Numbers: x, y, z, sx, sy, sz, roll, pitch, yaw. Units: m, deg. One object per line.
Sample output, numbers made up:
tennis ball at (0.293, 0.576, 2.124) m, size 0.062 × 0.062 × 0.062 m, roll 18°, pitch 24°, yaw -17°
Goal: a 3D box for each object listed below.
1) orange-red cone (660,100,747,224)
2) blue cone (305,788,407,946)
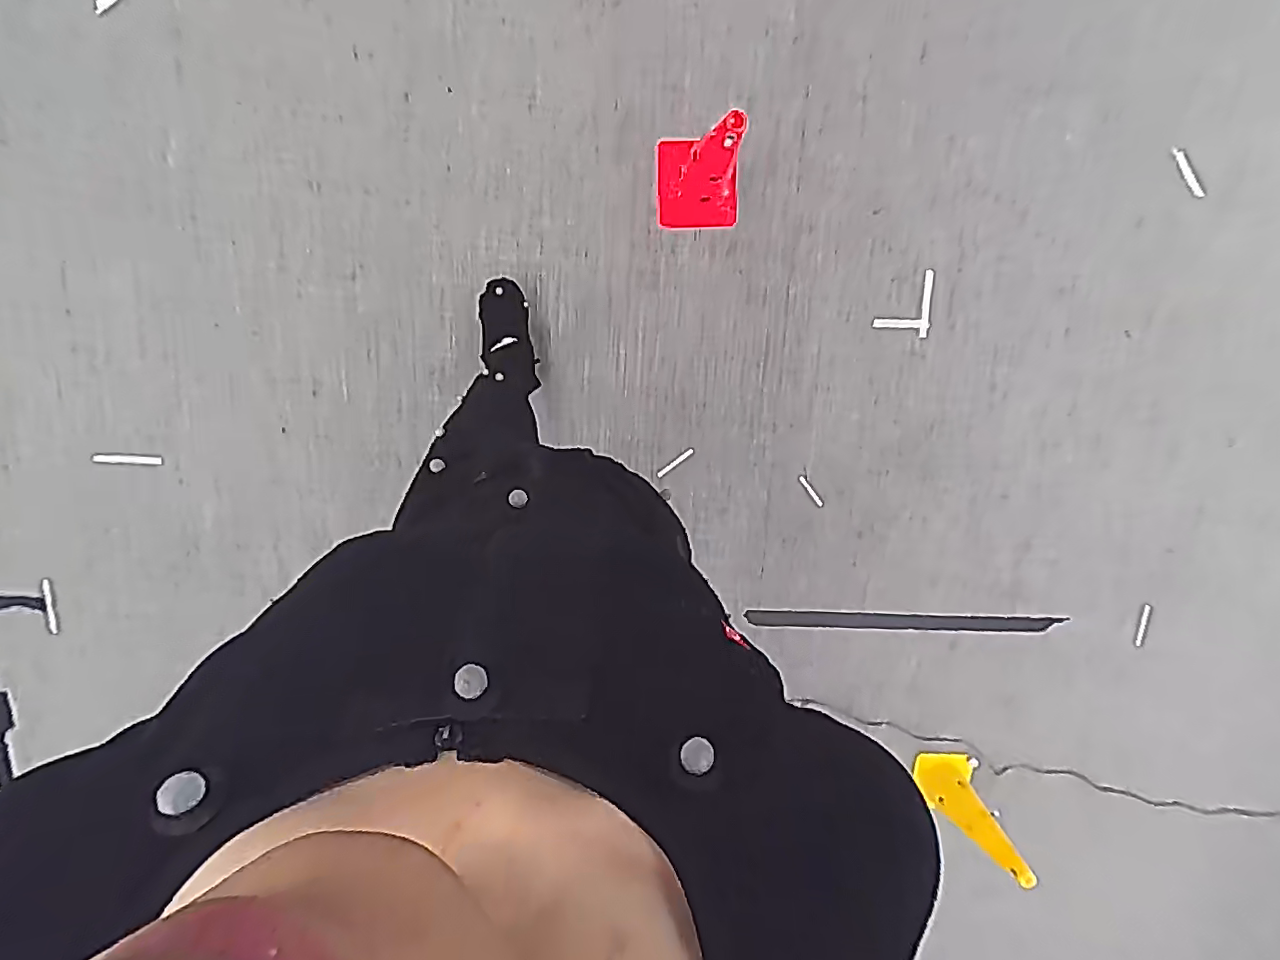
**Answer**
orange-red cone at (0.161, -0.698, 1.149) m, size 0.199 × 0.360 × 0.198 m, roll -2°, pitch 101°, yaw -4°
blue cone at (-0.758, 1.012, 1.403) m, size 0.193 × 0.380 × 0.192 m, roll -3°, pitch 102°, yaw -5°
